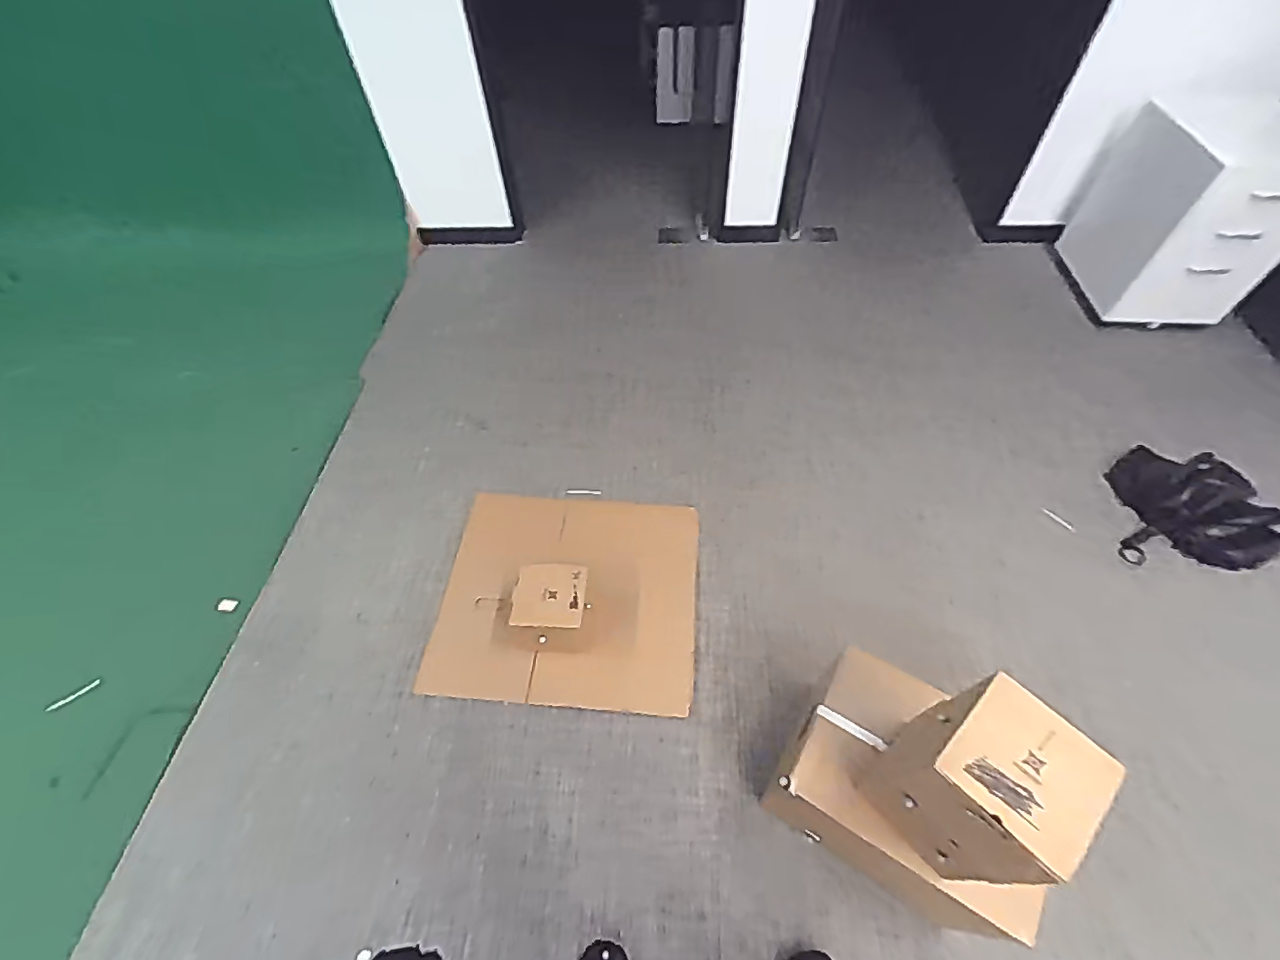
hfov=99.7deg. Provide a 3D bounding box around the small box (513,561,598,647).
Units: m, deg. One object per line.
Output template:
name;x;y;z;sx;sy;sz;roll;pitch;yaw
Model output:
small box;-0.209;0.323;1.390;0.179;0.176;0.168;-1;52;3

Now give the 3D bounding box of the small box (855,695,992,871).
small box;0.485;0.489;0.875;0.168;0.176;0.179;-36;59;-22

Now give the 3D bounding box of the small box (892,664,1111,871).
small box;0.475;0.394;0.741;0.168;0.176;0.179;39;65;25
